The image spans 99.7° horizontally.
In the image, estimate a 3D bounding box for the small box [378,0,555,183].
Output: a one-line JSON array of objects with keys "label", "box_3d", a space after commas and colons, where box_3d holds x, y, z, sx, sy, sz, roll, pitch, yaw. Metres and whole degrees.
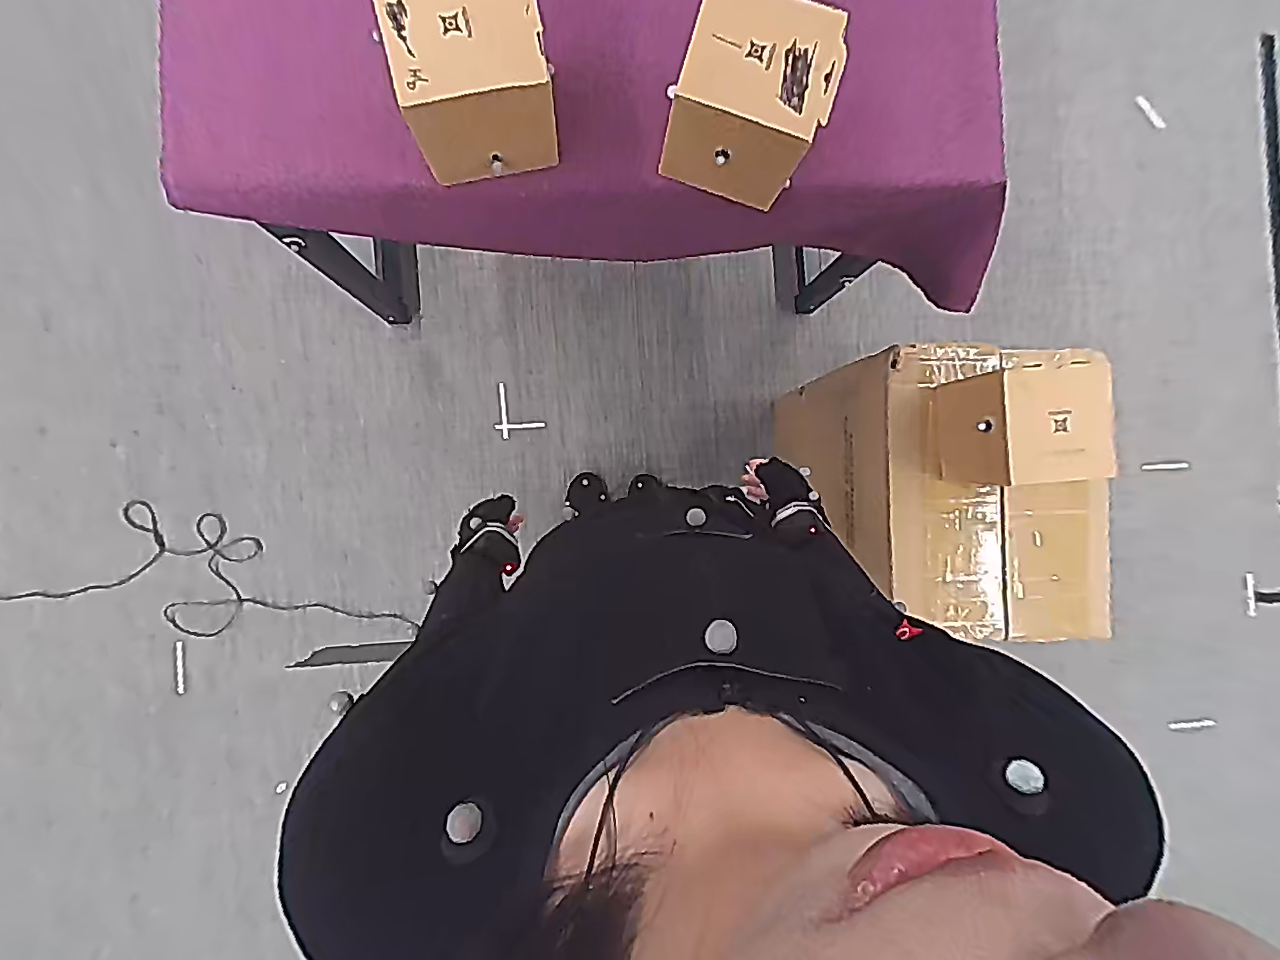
[{"label": "small box", "box_3d": [-0.210, -0.516, 0.695, 0.179, 0.176, 0.168, -13, 90, -6]}]

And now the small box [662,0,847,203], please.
[{"label": "small box", "box_3d": [0.140, -0.506, 0.724, 0.179, 0.176, 0.168, 17, 87, -4]}]

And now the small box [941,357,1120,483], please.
[{"label": "small box", "box_3d": [0.609, -0.088, 0.864, 0.168, 0.176, 0.179, -5, 91, -2]}]
